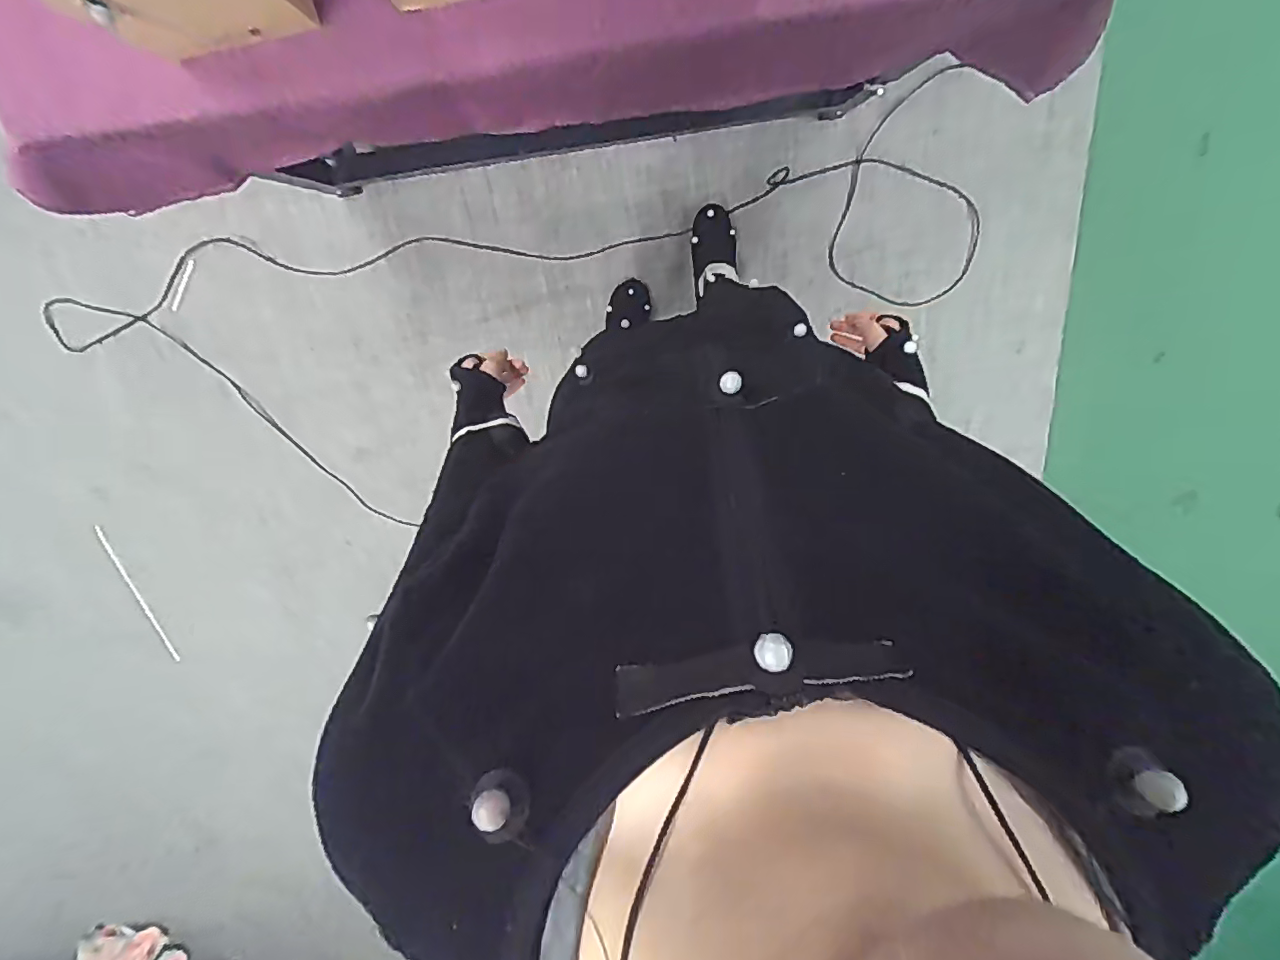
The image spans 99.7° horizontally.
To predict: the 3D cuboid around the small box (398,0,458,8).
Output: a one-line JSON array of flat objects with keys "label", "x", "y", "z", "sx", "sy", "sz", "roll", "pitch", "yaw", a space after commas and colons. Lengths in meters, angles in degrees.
[{"label": "small box", "x": -0.176, "y": -0.545, "z": 0.458, "sx": 0.179, "sy": 0.176, "sz": 0.168, "roll": -9, "pitch": 112, "yaw": 2}]
